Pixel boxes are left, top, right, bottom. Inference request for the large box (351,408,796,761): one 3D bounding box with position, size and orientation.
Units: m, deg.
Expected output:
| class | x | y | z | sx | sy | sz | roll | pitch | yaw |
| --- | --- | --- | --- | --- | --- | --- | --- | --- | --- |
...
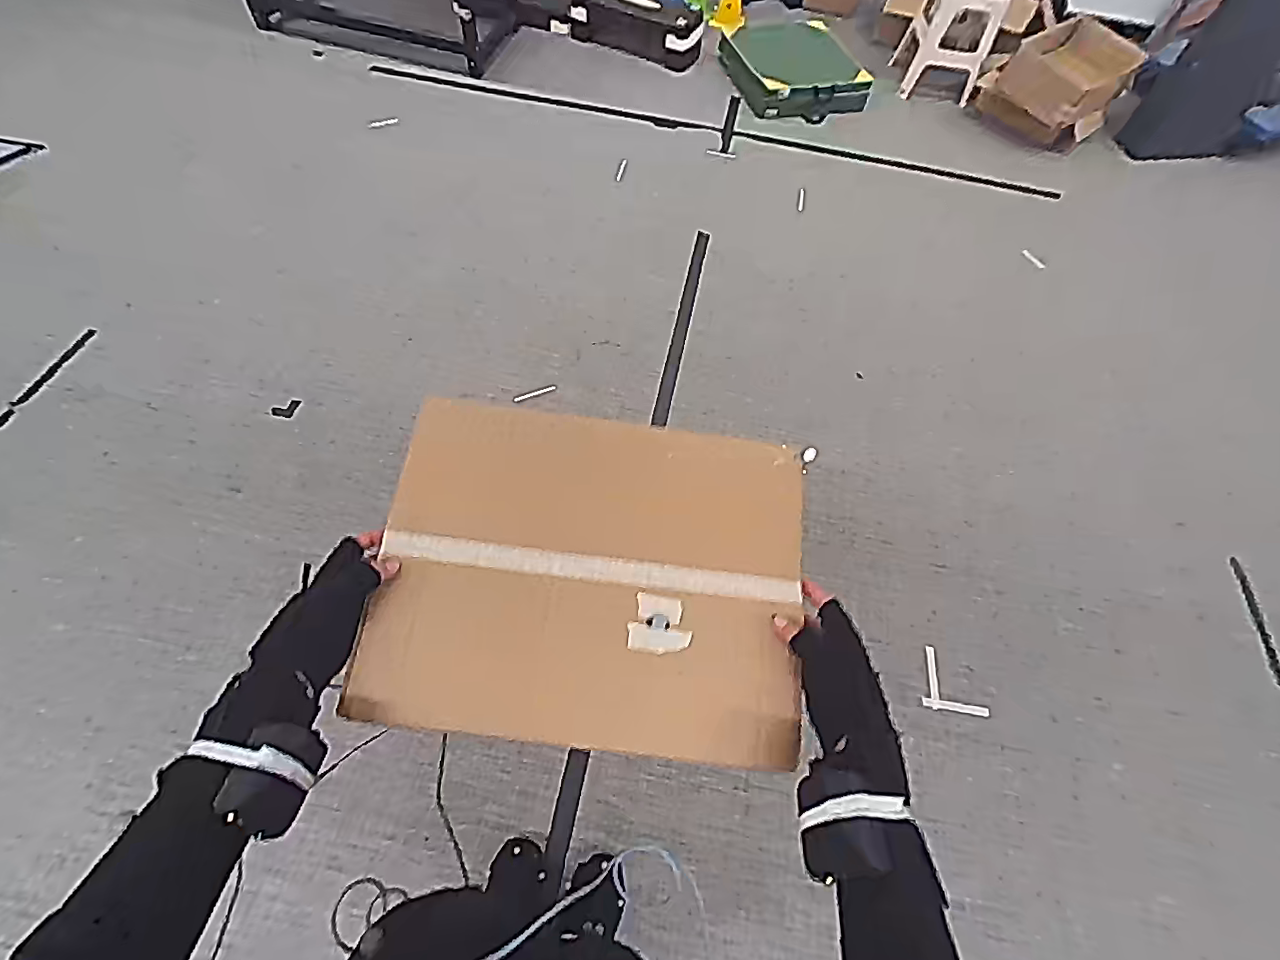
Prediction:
| class | x | y | z | sx | sy | sz | roll | pitch | yaw |
| --- | --- | --- | --- | --- | --- | --- | --- | --- | --- |
| large box | -0.056 | 0.138 | 0.668 | 0.408 | 0.320 | 0.320 | 8 | 71 | -2 |
